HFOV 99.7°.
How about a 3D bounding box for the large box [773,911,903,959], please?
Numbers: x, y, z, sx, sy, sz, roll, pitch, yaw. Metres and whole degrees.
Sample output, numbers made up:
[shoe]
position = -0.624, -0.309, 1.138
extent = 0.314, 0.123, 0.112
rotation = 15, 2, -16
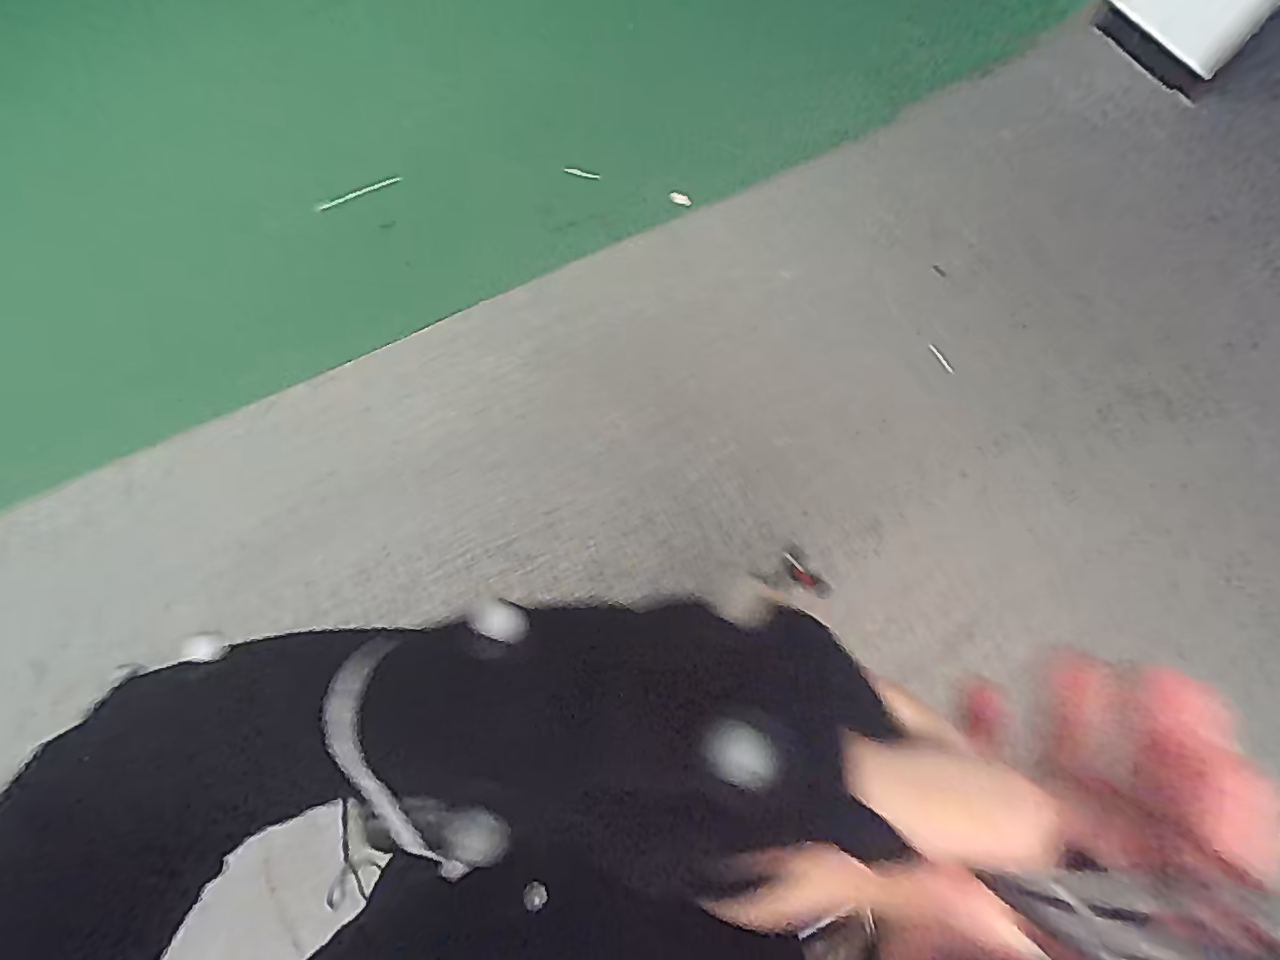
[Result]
[large box]
position = 0.407, 1.079, 0.915
extent = 0.320, 0.320, 0.408
rotation = -23, 73, -6
